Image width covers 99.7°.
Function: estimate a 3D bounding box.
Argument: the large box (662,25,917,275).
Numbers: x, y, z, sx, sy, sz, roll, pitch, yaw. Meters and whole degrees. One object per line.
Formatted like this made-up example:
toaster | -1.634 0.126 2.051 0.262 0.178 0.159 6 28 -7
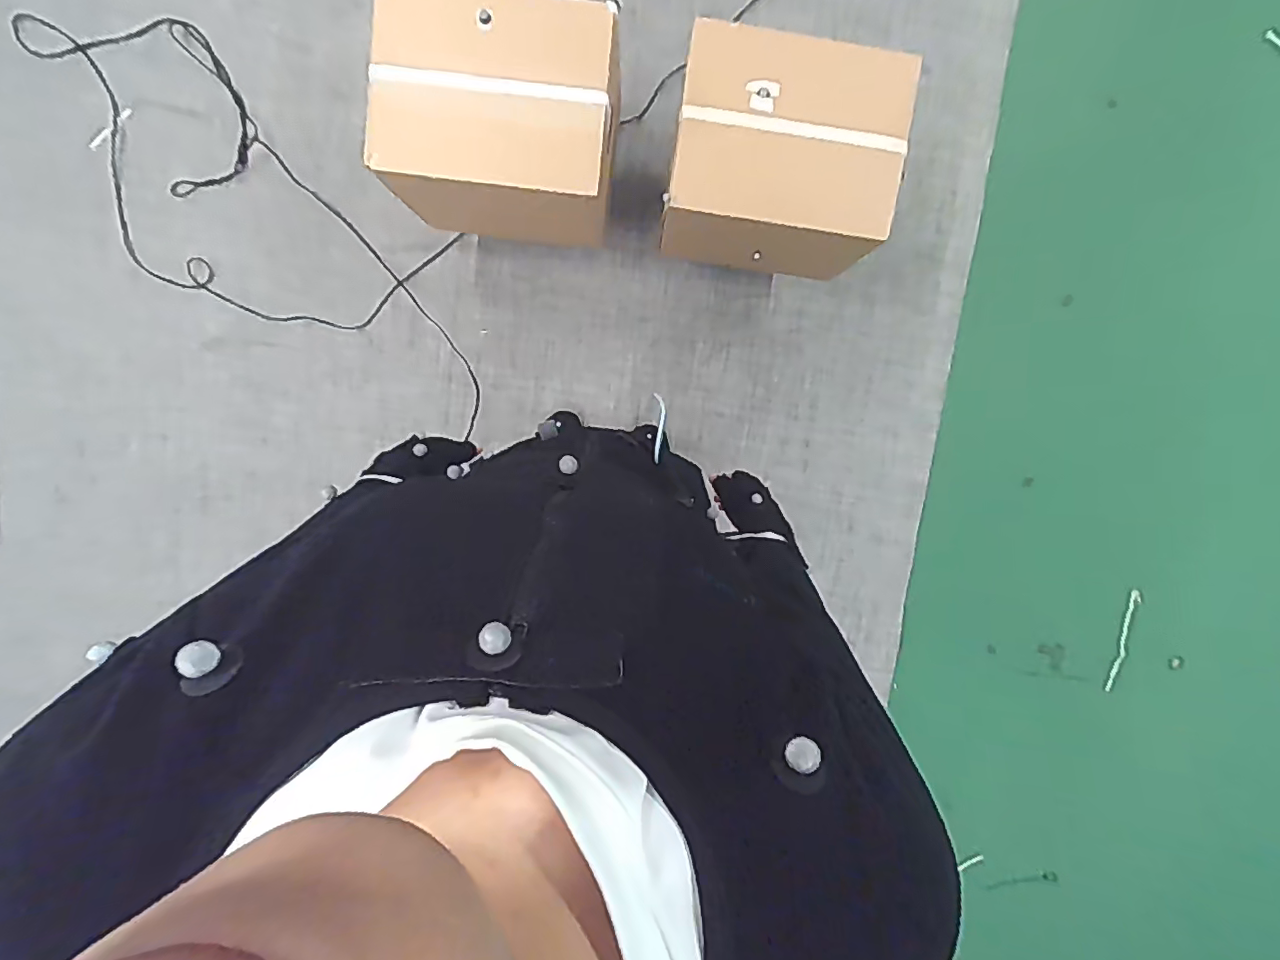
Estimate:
large box | 0.271 -0.634 1.108 0.408 0.320 0.320 9 97 -2
